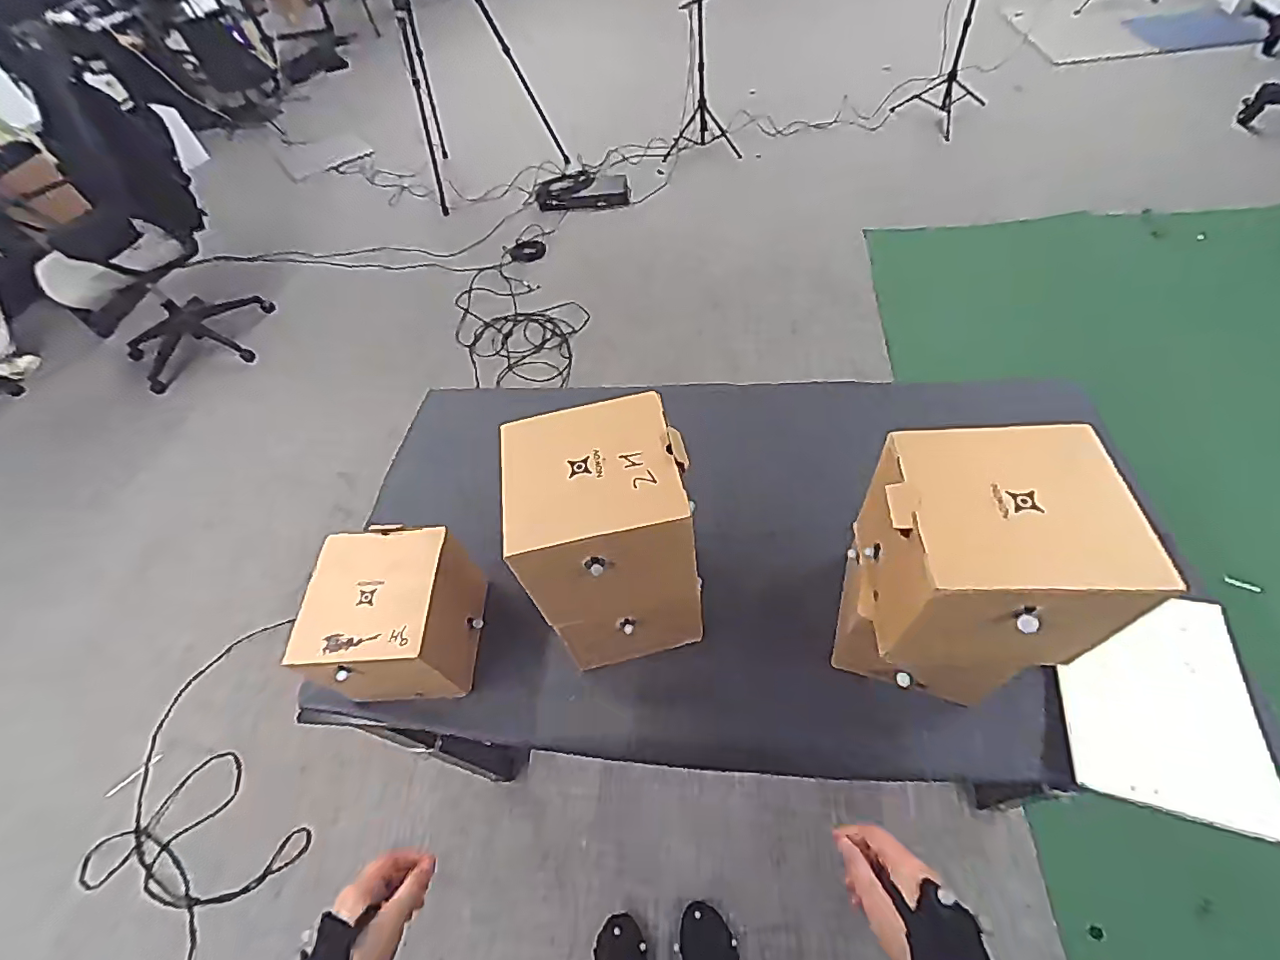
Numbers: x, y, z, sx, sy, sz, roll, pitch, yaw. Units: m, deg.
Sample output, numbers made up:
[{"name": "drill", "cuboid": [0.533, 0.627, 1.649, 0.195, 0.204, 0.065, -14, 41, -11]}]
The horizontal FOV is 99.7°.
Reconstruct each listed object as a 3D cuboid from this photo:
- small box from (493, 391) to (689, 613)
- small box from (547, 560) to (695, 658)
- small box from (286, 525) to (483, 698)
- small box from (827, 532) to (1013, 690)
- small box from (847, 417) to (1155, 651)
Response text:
[{"name": "small box", "cuboid": [-0.050, 0.032, 0.603, 0.179, 0.176, 0.168, -13, 54, 0]}, {"name": "small box", "cuboid": [-0.030, 0.125, 0.738, 0.179, 0.176, 0.168, -14, 54, -2]}, {"name": "small box", "cuboid": [-0.327, 0.183, 0.739, 0.168, 0.176, 0.179, -6, 54, 5]}, {"name": "small box", "cuboid": [0.336, 0.133, 0.671, 0.168, 0.176, 0.179, 12, 57, 17]}, {"name": "small box", "cuboid": [0.317, 0.058, 0.525, 0.179, 0.176, 0.168, -3, 53, 8]}]
